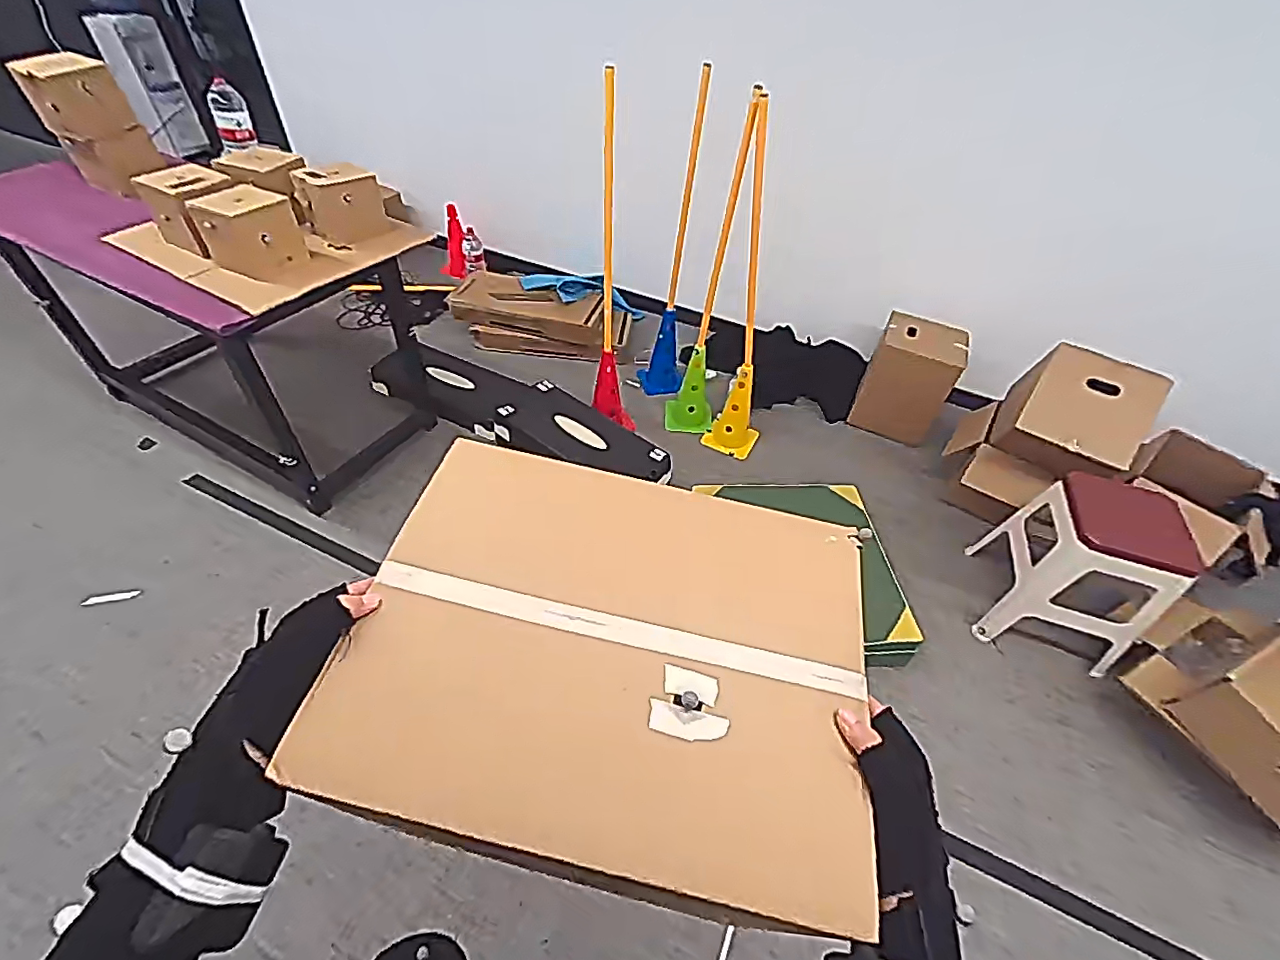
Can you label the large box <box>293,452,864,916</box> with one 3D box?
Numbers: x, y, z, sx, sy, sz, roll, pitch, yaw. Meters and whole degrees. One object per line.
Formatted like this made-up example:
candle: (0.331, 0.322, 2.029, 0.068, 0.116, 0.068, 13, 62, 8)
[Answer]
large box: (-0.034, 0.218, 0.569, 0.408, 0.320, 0.320, 13, 53, 3)
